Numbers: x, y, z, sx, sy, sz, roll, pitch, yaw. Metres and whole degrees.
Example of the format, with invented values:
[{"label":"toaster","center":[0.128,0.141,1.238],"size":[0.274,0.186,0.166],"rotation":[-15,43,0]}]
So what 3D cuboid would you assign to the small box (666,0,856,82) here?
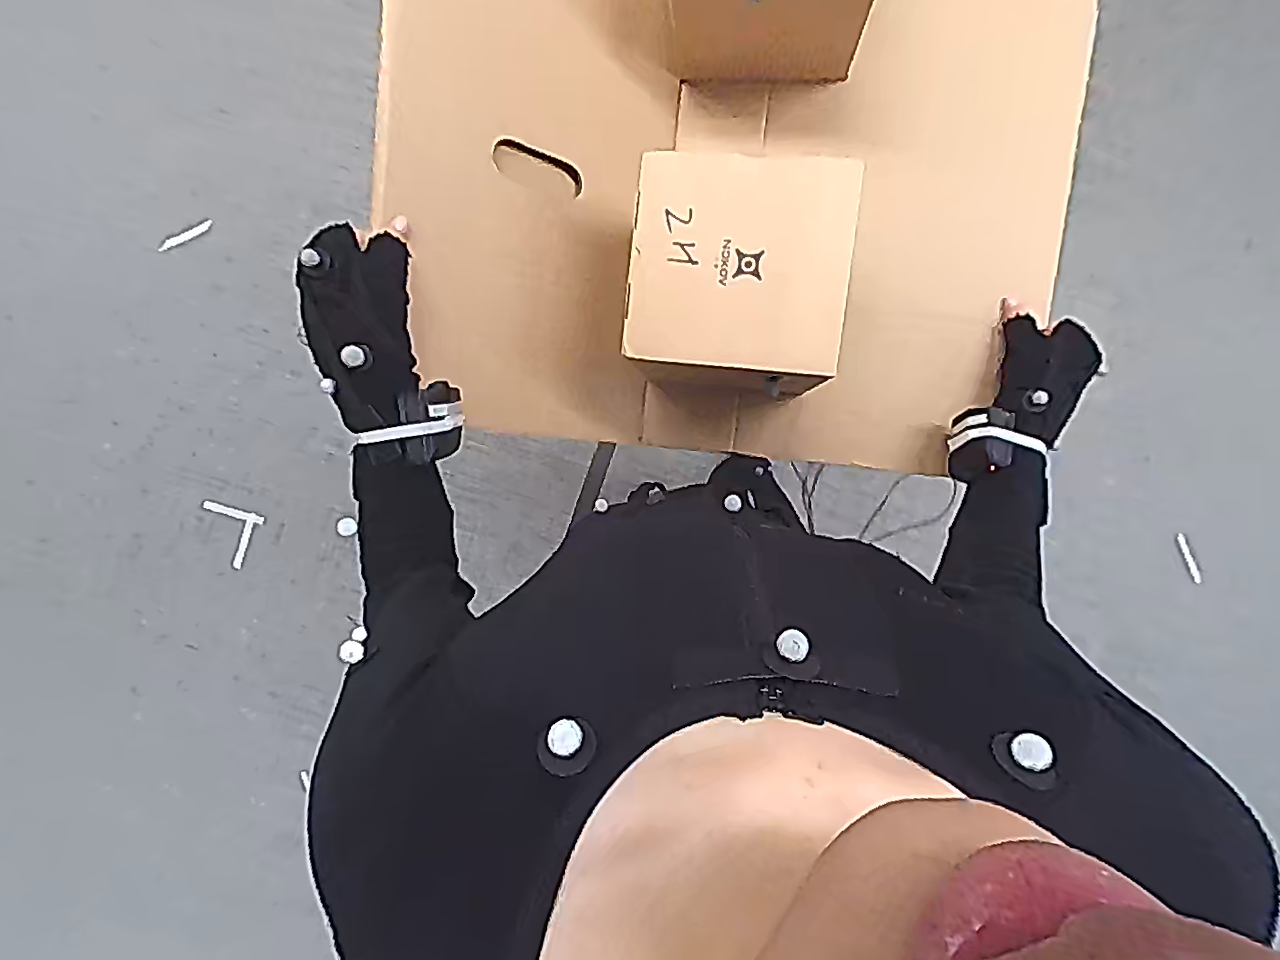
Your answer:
[{"label":"small box","center":[0.114,-0.499,0.492],"size":[0.179,0.176,0.168],"rotation":[5,95,7]}]

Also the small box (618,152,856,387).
[{"label":"small box","center":[0.087,-0.184,0.518],"size":[0.179,0.176,0.168],"rotation":[7,95,8]}]
